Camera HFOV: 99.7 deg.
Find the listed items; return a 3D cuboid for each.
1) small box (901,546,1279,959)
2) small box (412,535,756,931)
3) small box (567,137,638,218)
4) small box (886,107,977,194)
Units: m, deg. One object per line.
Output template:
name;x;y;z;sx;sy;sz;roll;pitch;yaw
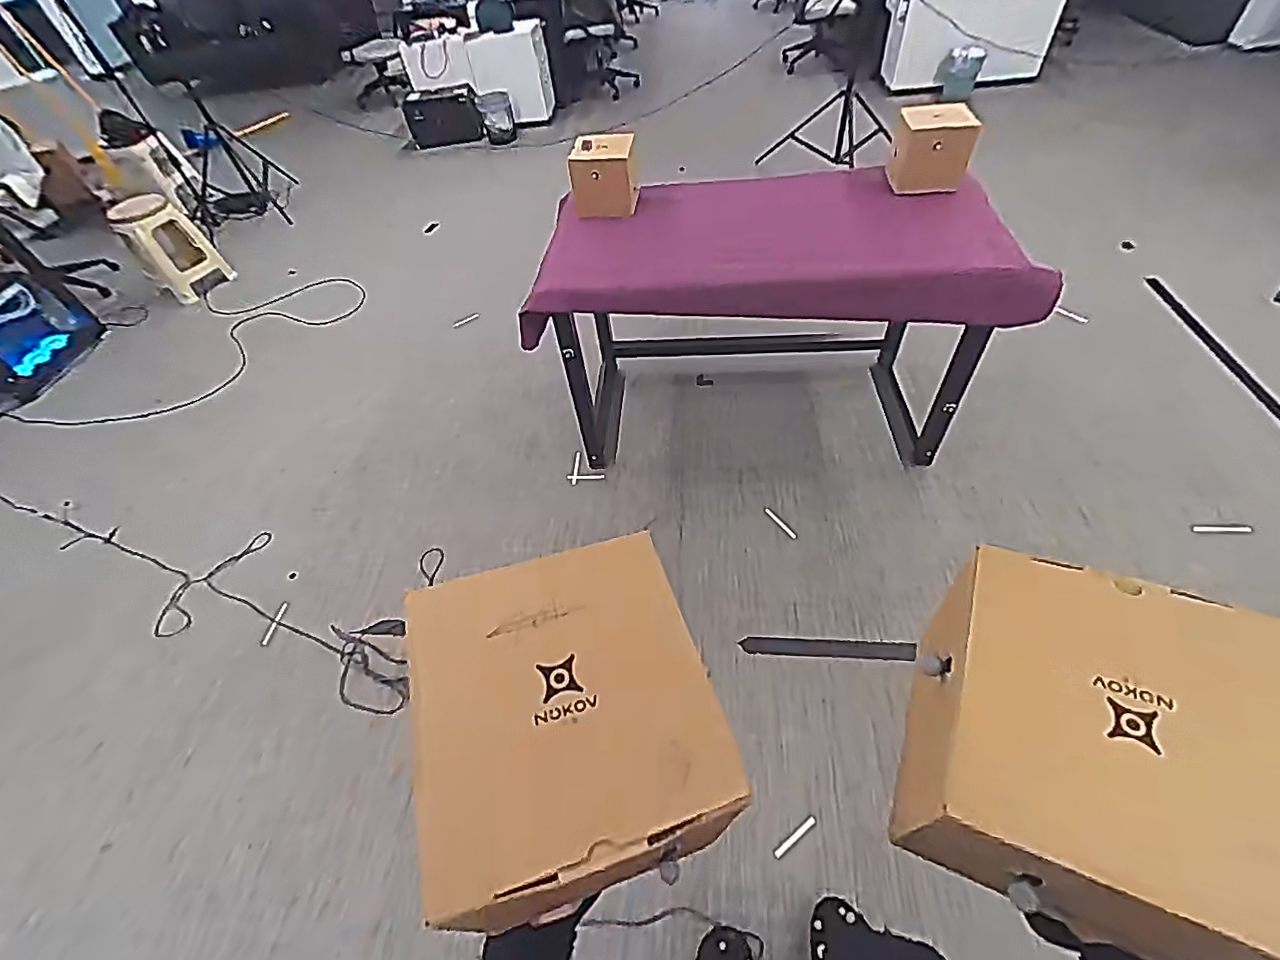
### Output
small box;0.282;0.176;0.355;0.168;0.176;0.179;14;55;22
small box;-0.044;0.171;0.371;0.168;0.176;0.179;-13;51;-14
small box;-0.106;-0.909;1.631;0.179;0.176;0.168;3;53;8
small box;0.811;-0.927;1.529;0.179;0.176;0.168;1;52;7
